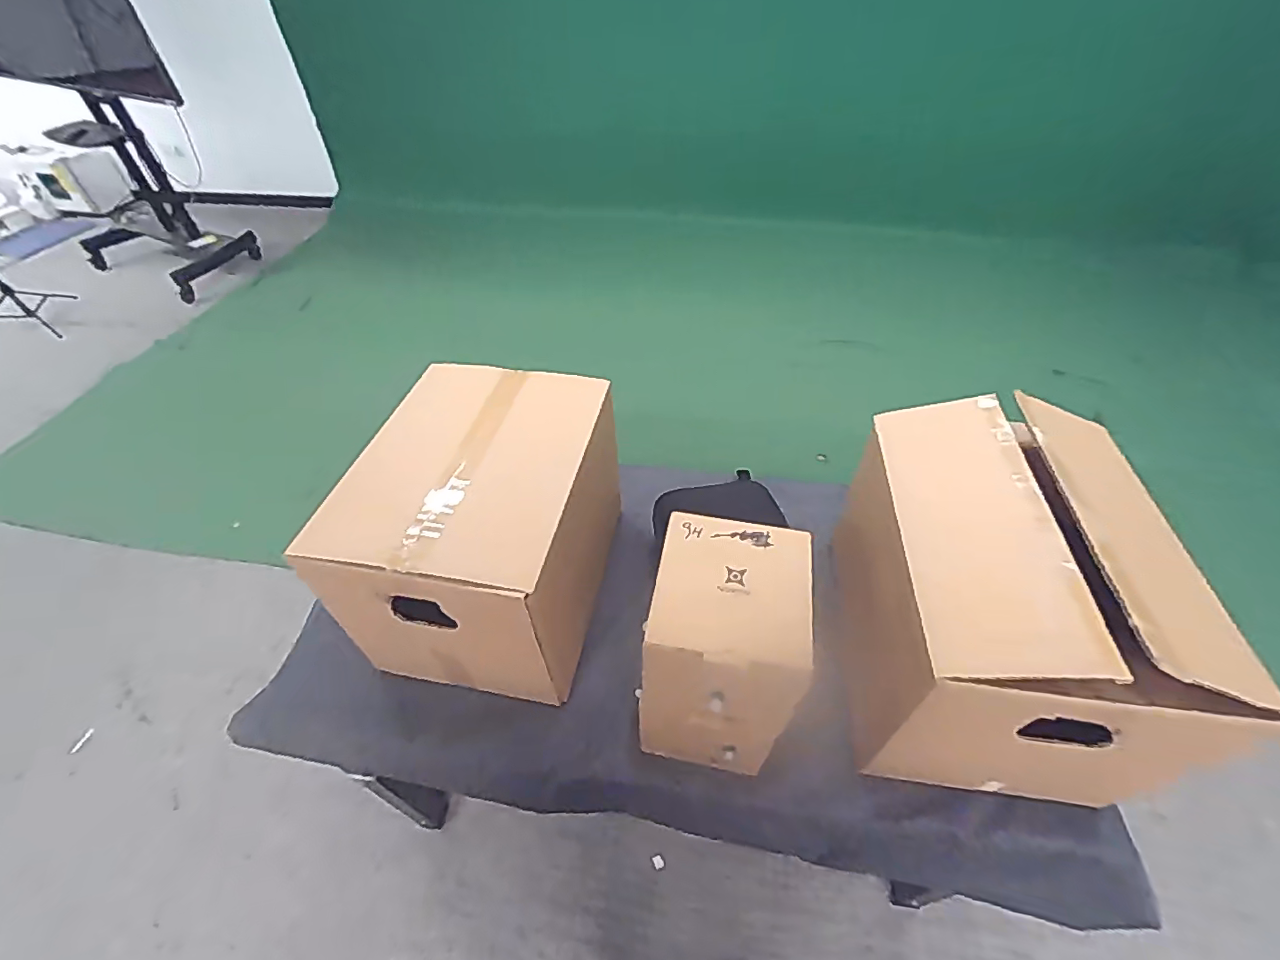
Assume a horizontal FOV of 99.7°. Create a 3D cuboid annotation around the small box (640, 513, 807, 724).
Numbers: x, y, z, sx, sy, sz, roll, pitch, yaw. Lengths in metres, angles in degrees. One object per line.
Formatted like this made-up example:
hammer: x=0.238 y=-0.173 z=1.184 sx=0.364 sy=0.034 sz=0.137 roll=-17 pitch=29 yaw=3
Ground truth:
small box: x=0.099 y=0.168 z=0.645 sx=0.168 sy=0.176 sz=0.179 roll=8 pitch=48 yaw=8
